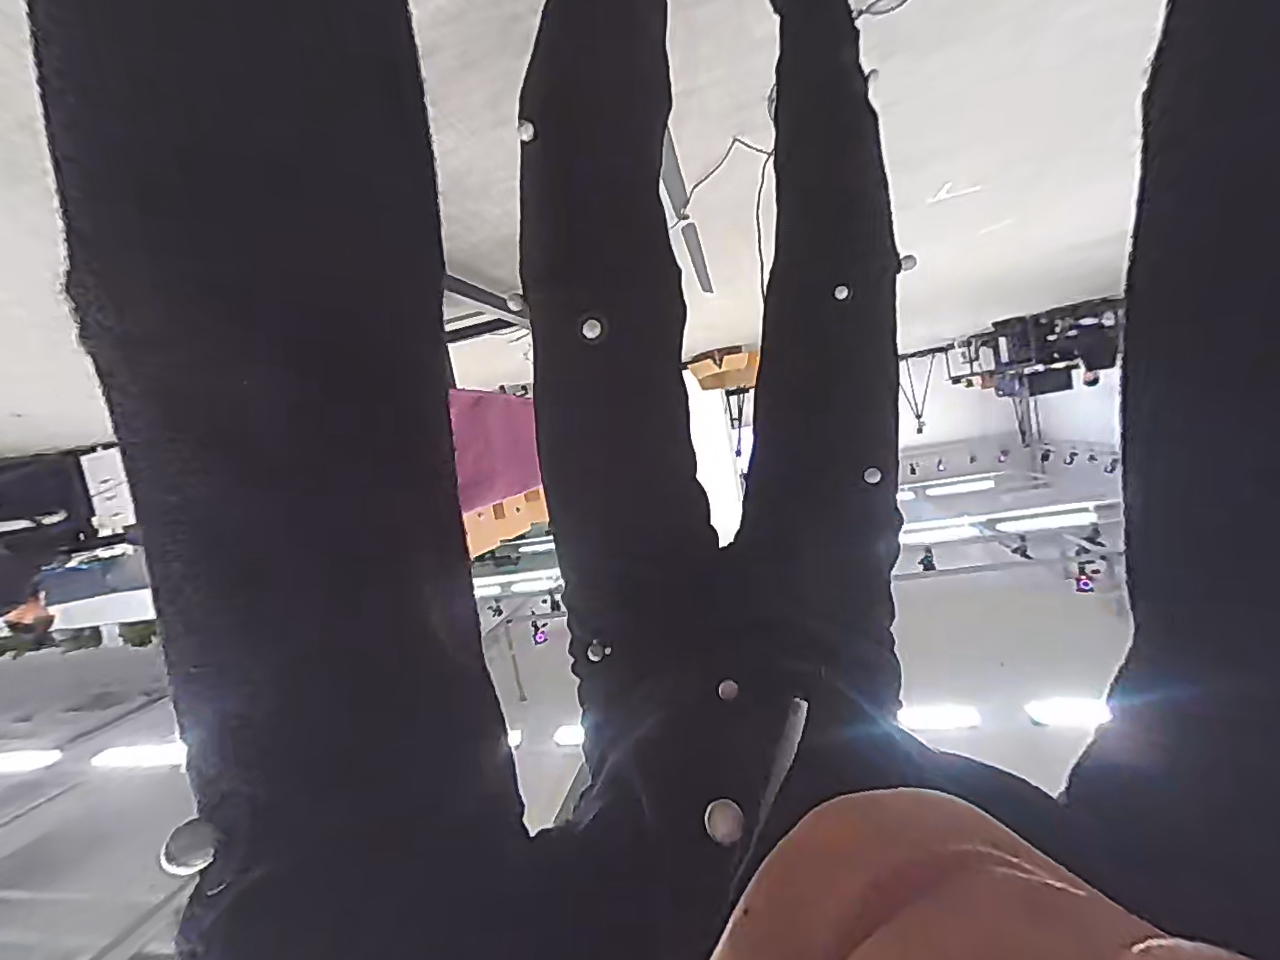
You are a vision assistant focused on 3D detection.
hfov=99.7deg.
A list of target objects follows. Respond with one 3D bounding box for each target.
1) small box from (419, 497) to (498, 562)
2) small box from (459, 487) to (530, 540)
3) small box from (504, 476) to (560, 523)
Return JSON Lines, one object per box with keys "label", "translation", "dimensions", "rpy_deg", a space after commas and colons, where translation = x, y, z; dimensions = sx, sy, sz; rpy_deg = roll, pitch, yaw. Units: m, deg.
{"label": "small box", "translation": [-0.586, 0.155, 1.738], "dimensions": [0.179, 0.176, 0.168], "rpy_deg": [-10, -174, 18]}
{"label": "small box", "translation": [-0.530, 0.123, 1.971], "dimensions": [0.179, 0.176, 0.168], "rpy_deg": [-9, -175, 14]}
{"label": "small box", "translation": [-0.453, 0.083, 2.232], "dimensions": [0.179, 0.176, 0.168], "rpy_deg": [-9, -174, 17]}
